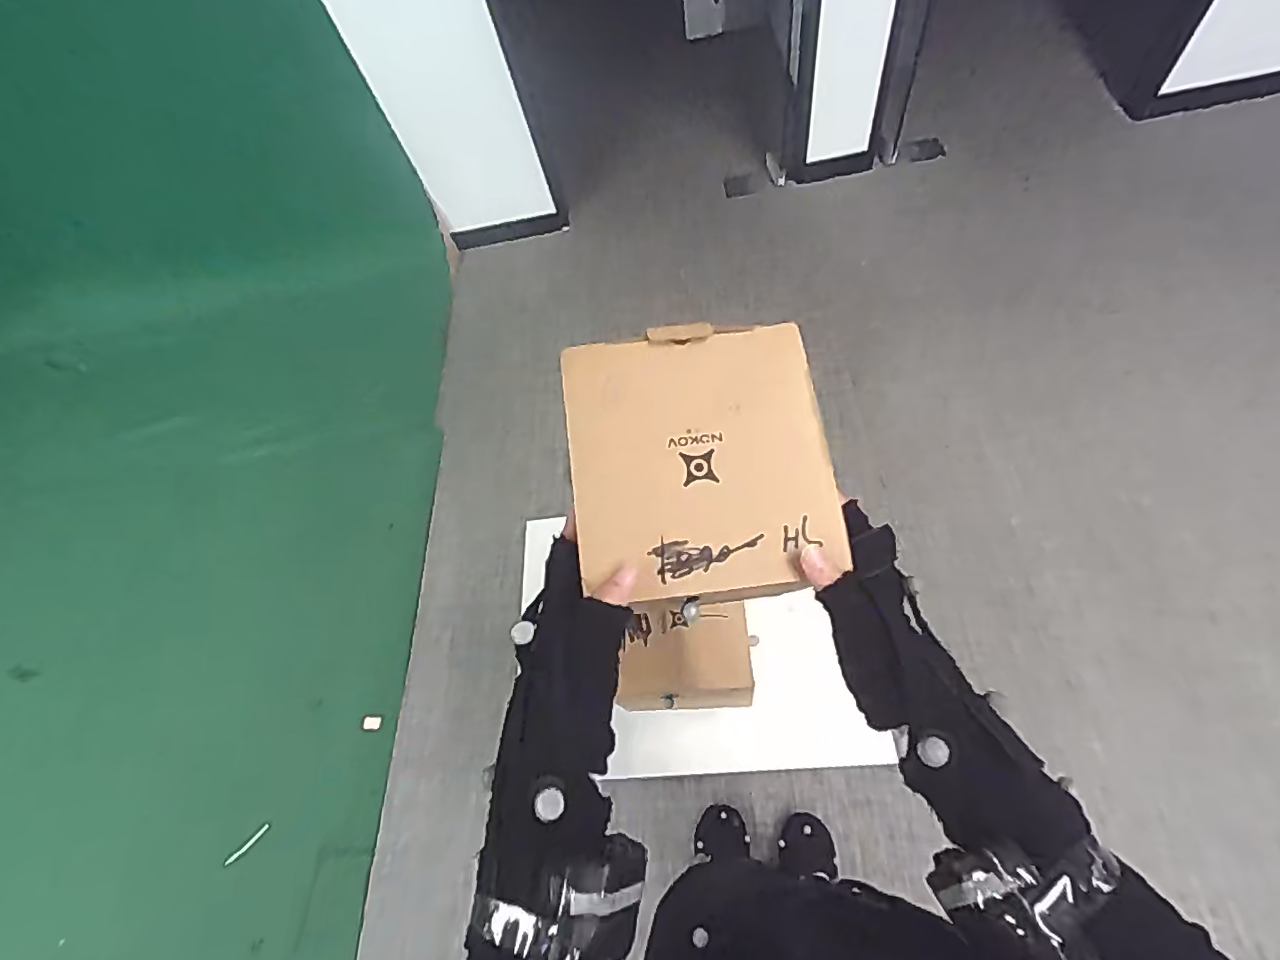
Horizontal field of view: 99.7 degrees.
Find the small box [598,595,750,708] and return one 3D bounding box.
[{"bbox_3d":[0.051,0.205,0.720,0.179,0.176,0.168,-5,60,8],"label":"small box"}]

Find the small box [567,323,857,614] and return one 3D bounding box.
[{"bbox_3d":[0.040,0.004,0.429,0.168,0.176,0.179,-9,75,-4],"label":"small box"}]
